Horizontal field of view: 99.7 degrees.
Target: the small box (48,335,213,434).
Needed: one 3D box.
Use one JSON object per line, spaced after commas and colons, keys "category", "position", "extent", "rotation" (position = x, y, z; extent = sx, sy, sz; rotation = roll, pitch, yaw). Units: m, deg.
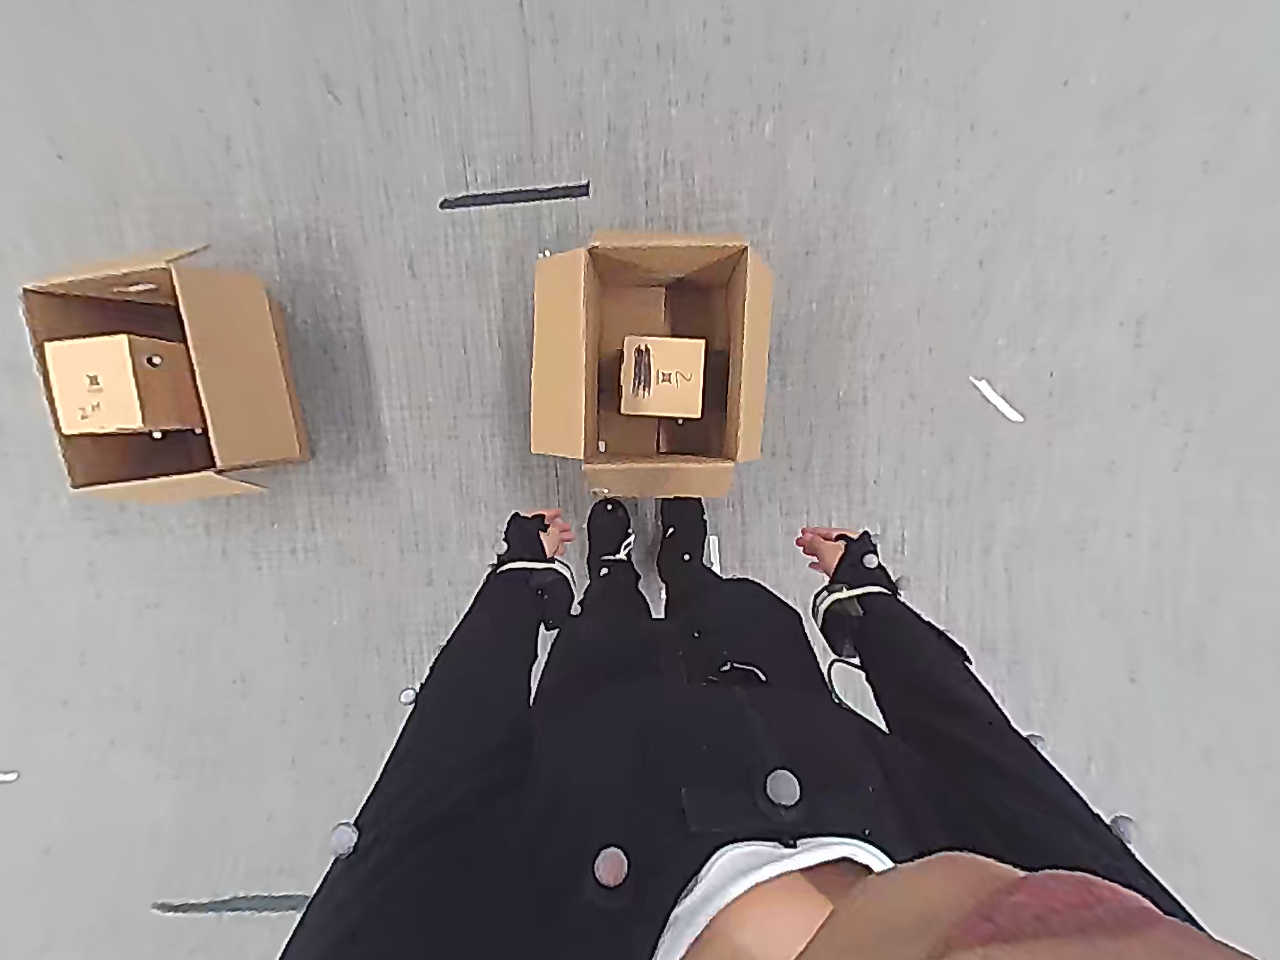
{"category": "small box", "position": [-1.021, -0.187, 1.099], "extent": [0.168, 0.176, 0.179], "rotation": [-5, 96, 3]}
